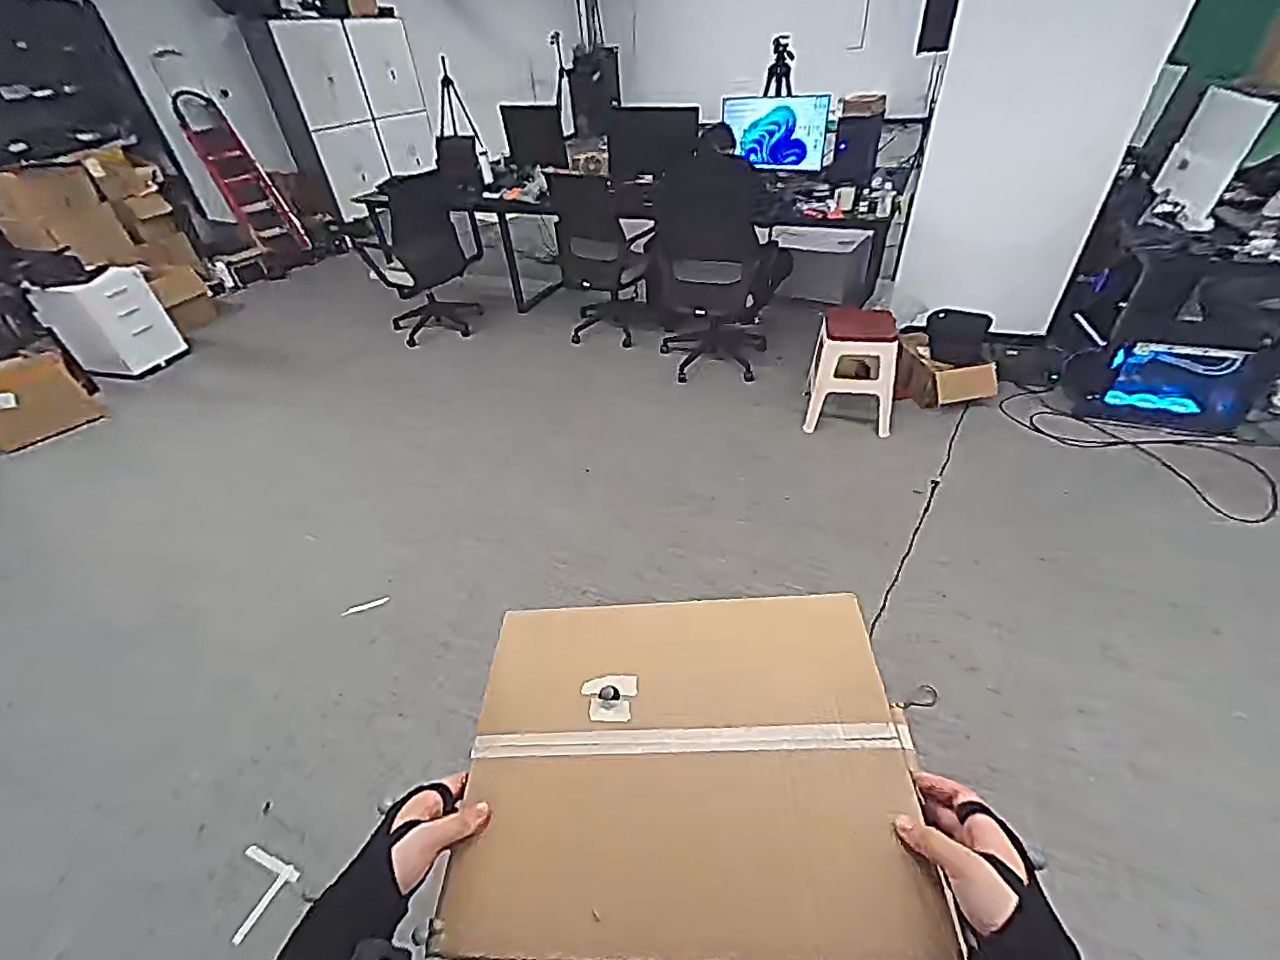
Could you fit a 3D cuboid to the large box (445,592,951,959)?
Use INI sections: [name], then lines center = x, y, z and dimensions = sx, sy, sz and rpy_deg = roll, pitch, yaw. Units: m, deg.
[large box]
center = 0.063, 0.359, 0.626
dimensions = 0.408, 0.320, 0.320
rpy_deg = -6, 43, 8
